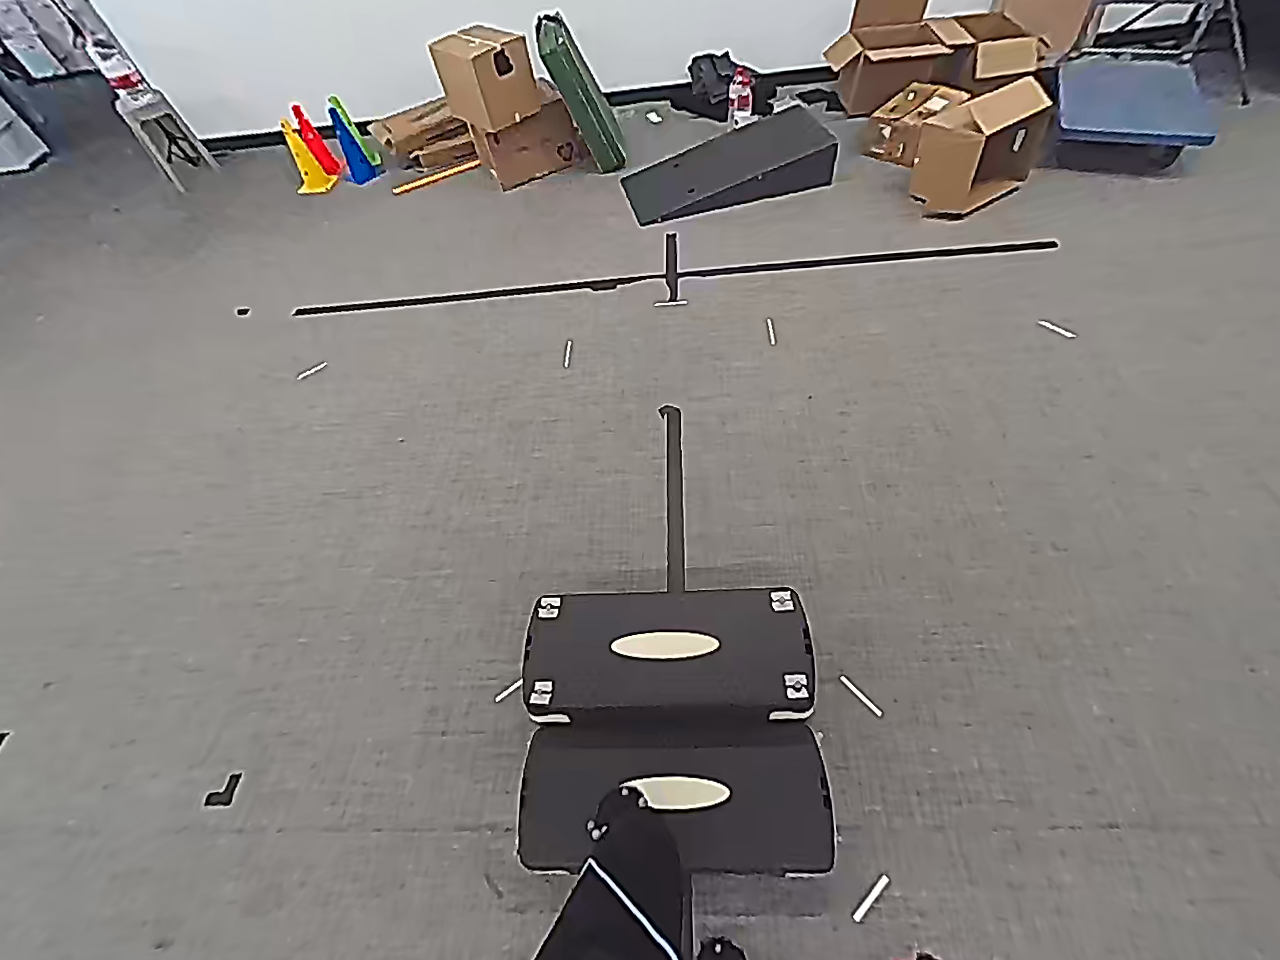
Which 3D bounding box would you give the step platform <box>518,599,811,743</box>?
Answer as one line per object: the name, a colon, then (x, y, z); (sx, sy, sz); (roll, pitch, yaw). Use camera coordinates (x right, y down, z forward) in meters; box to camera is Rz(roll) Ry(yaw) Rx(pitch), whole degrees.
step platform: (0.055, 0.457, 1.307); (0.684, 0.204, 0.286); (-3, 55, 4)
